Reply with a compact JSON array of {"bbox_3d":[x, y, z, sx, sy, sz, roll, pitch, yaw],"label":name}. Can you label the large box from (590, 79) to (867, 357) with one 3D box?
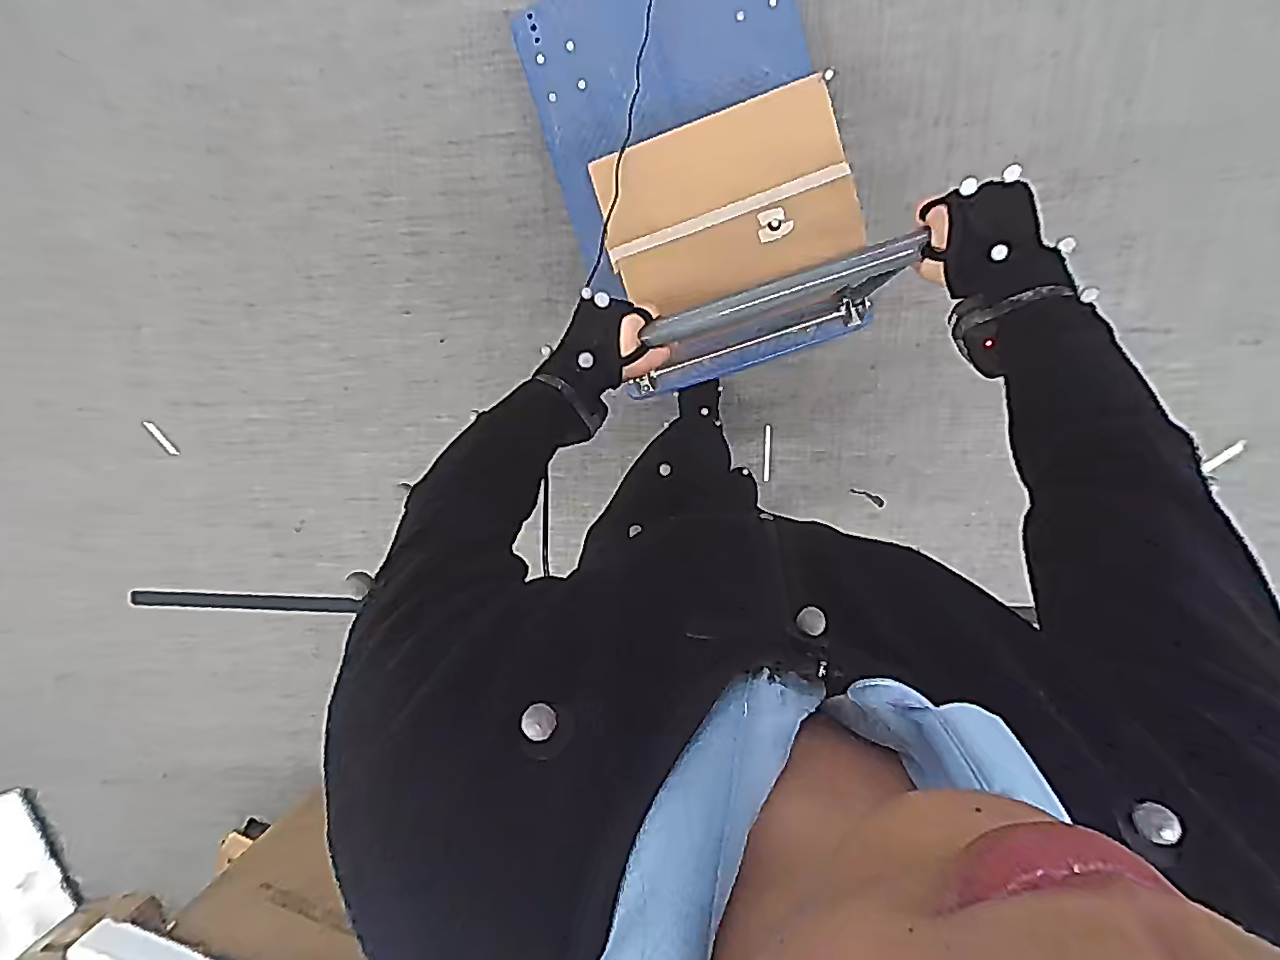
[{"bbox_3d":[0.160,-0.461,1.053,0.408,0.320,0.320,-17,97,8],"label":"large box"}]
